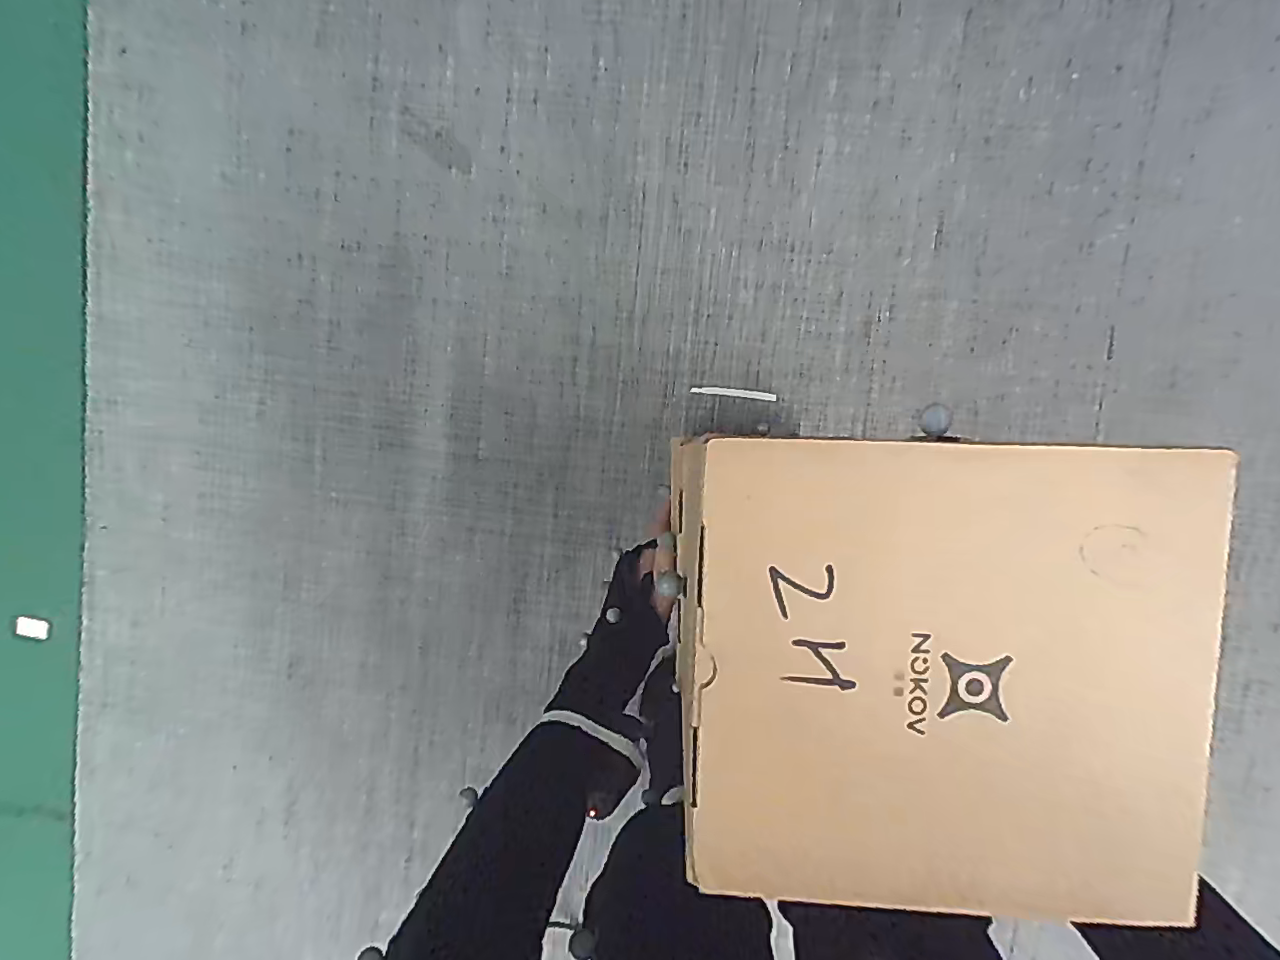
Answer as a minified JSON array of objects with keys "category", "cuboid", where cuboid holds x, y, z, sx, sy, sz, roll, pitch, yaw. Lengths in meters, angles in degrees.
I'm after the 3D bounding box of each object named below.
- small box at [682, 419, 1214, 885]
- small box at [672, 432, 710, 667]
[{"category":"small box","cuboid":[0.113,0.057,0.275,0.179,0.176,0.168,2,93,5]},{"category":"small box","cuboid":[0.117,0.045,0.438,0.179,0.176,0.168,0,95,5]}]
